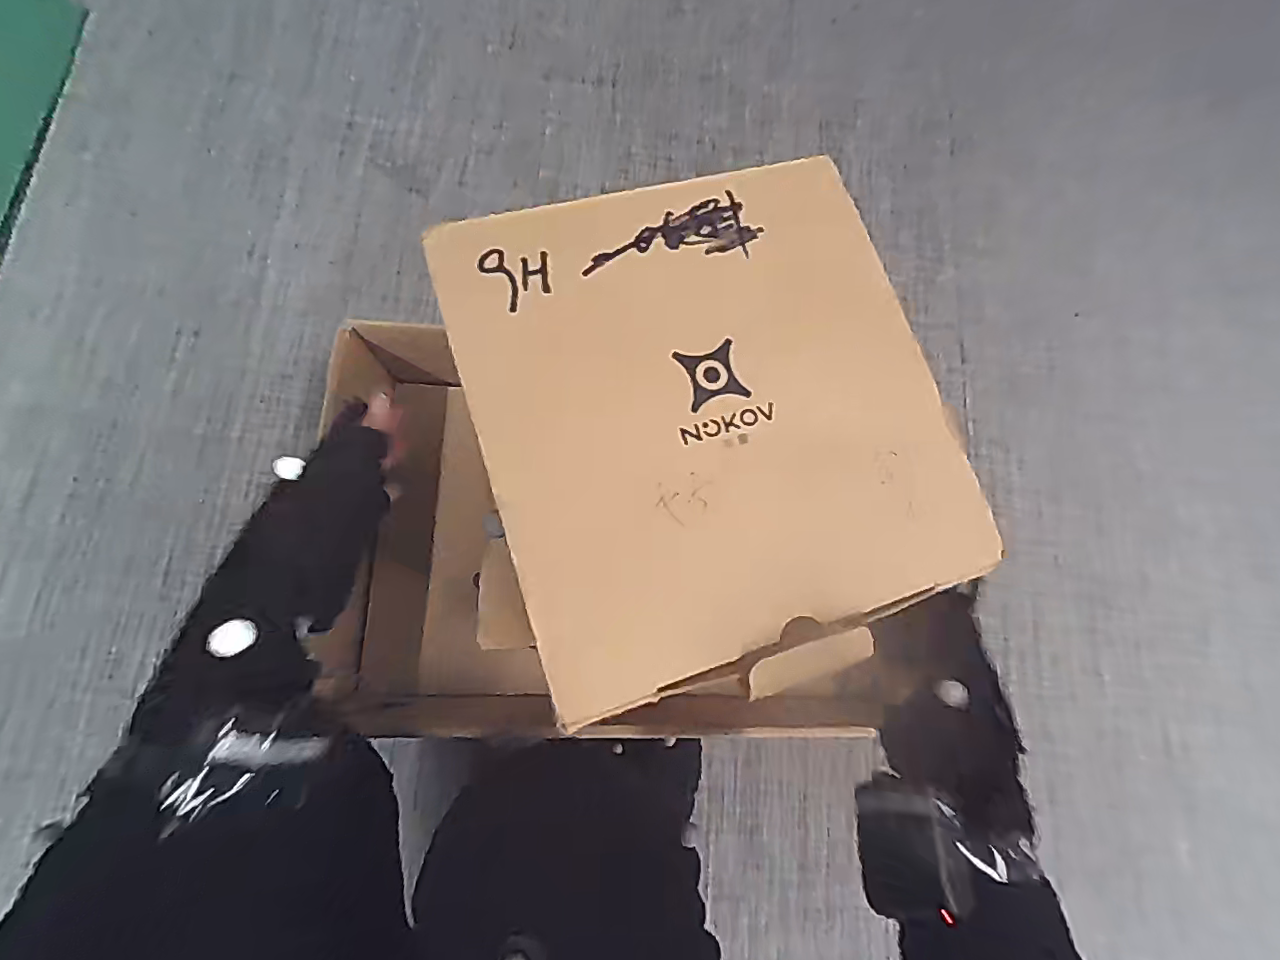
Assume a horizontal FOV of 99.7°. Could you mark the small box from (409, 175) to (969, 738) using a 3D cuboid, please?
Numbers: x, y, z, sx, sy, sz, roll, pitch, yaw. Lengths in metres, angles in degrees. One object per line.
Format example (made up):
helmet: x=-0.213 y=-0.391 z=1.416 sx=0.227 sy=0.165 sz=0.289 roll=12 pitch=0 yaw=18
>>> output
small box: x=0.008 y=-0.006 z=0.270 sx=0.168 sy=0.176 sz=0.179 roll=-15 pitch=81 yaw=-11
